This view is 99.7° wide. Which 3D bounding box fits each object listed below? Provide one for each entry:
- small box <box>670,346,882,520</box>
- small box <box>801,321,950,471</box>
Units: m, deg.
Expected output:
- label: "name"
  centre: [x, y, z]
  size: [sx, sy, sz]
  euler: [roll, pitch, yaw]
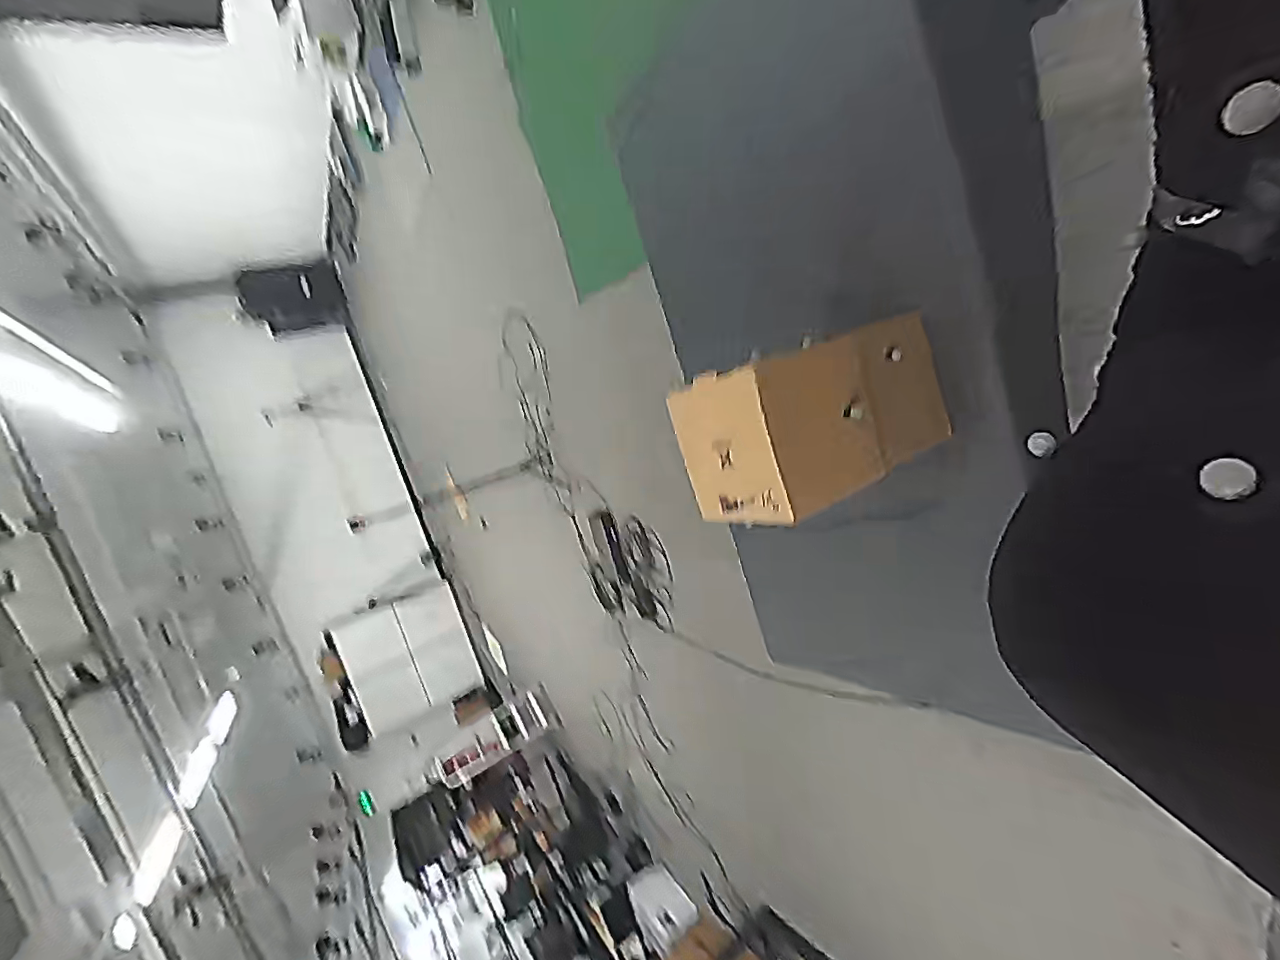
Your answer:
- label: "small box"
  centre: [0.169, -0.059, 0.677]
  size: [0.168, 0.176, 0.179]
  euler: [-5, 103, 60]
- label: "small box"
  centre: [0.298, -0.112, 0.764]
  size: [0.168, 0.176, 0.179]
  euler: [-11, 101, 61]
